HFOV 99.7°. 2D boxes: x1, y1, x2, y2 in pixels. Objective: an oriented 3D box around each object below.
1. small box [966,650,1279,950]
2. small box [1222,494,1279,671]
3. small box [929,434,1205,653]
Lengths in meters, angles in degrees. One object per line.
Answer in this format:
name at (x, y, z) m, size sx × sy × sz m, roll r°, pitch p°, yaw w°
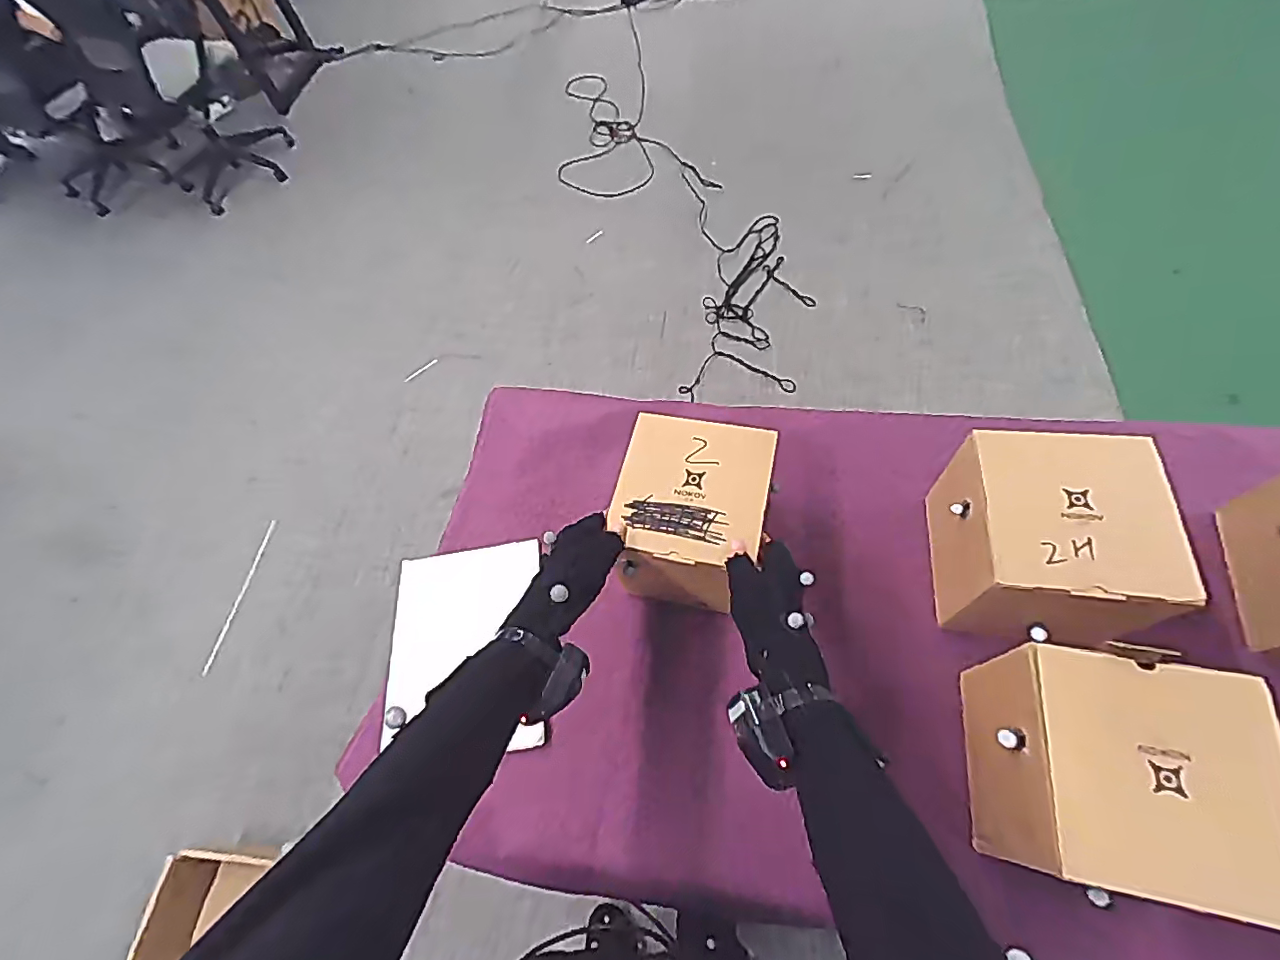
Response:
small box at (0.413, 0.270, 0.483) m, size 0.168 × 0.176 × 0.179 m, roll 7°, pitch 63°, yaw 13°
small box at (0.737, 0.097, 0.526) m, size 0.168 × 0.176 × 0.179 m, roll 9°, pitch 63°, yaw 14°
small box at (0.431, 0.073, 0.587) m, size 0.168 × 0.176 × 0.179 m, roll 5°, pitch 62°, yaw 12°
